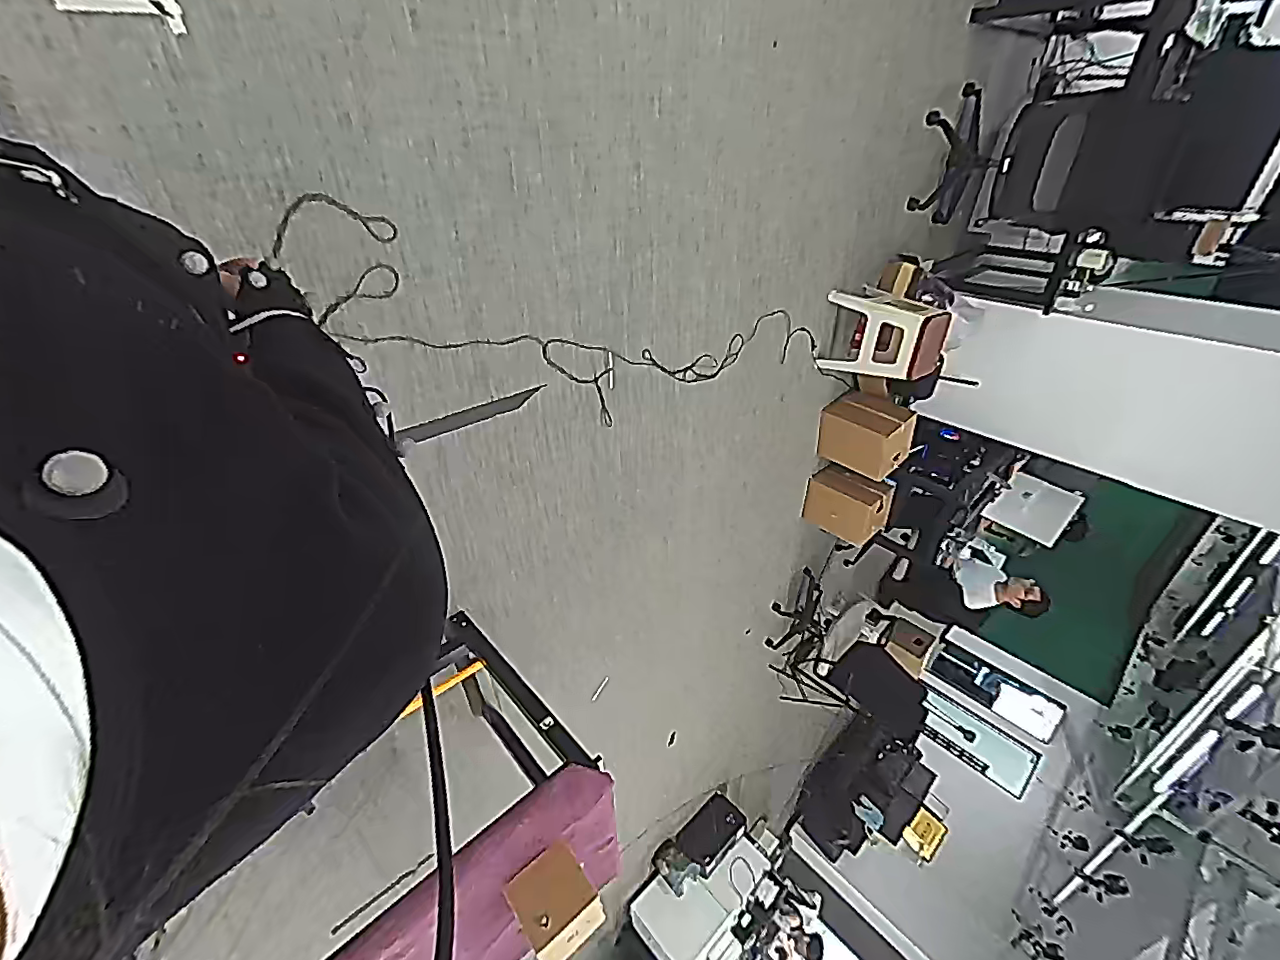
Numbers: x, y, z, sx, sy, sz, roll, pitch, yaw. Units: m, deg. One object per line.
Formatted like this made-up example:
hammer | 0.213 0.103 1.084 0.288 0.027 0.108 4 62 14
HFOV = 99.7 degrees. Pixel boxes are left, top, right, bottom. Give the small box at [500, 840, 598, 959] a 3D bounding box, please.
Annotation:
small box | -0.227 1.045 1.326 0.179 0.176 0.168 -28 132 -31
